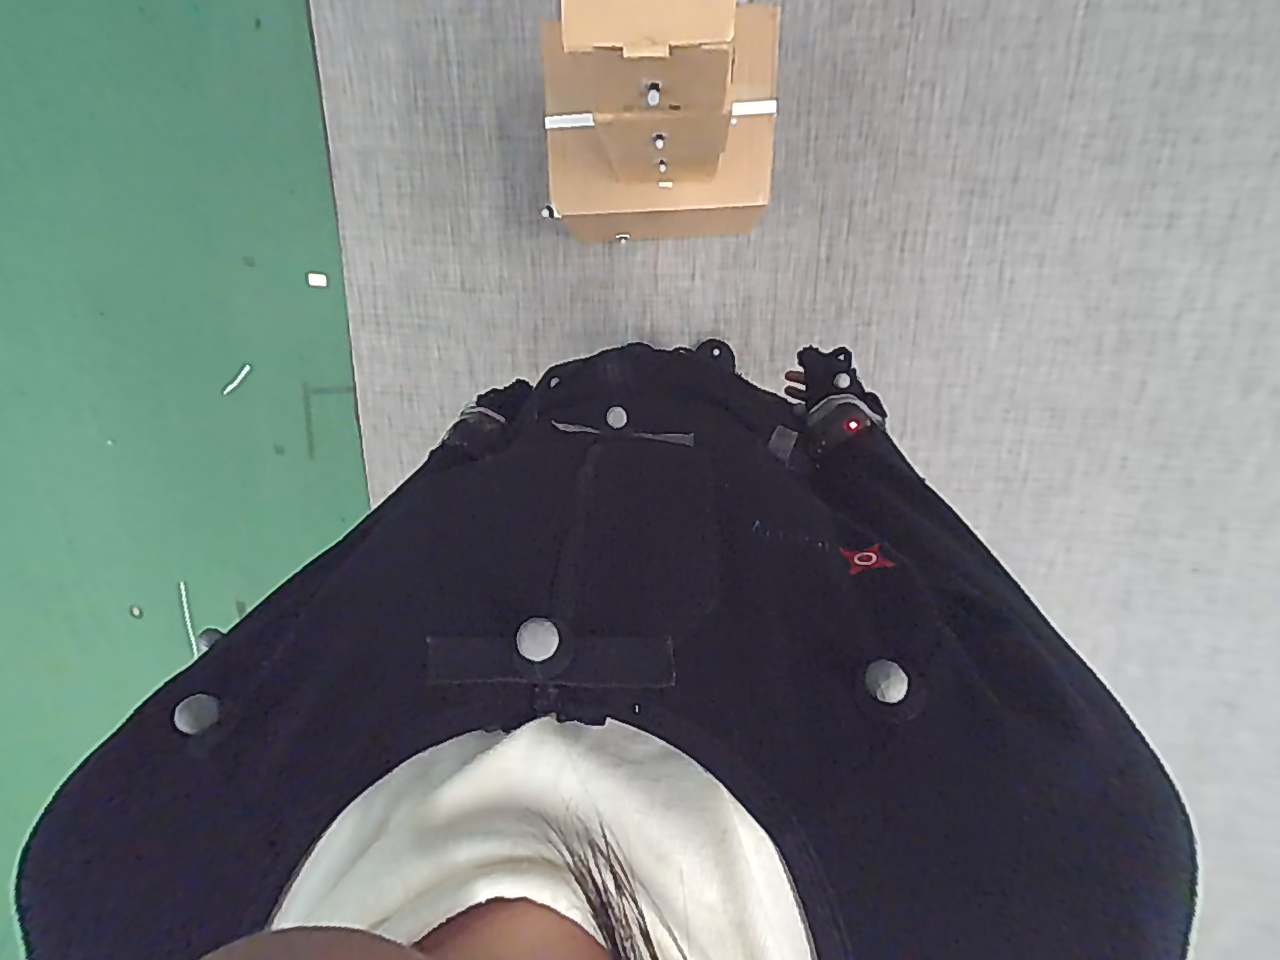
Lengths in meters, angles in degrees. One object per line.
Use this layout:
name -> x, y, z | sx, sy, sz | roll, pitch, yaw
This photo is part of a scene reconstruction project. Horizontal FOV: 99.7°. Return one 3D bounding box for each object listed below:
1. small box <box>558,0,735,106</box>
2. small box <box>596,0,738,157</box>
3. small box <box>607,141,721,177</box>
small box -> 0.016, -0.514, 0.563 | 0.168, 0.176, 0.179 | 4, 107, 6
small box -> 0.035, -0.551, 0.721 | 0.179, 0.176, 0.168 | -2, 107, 6
small box -> 0.044, -0.602, 0.877 | 0.179, 0.176, 0.168 | 2, 107, 4
